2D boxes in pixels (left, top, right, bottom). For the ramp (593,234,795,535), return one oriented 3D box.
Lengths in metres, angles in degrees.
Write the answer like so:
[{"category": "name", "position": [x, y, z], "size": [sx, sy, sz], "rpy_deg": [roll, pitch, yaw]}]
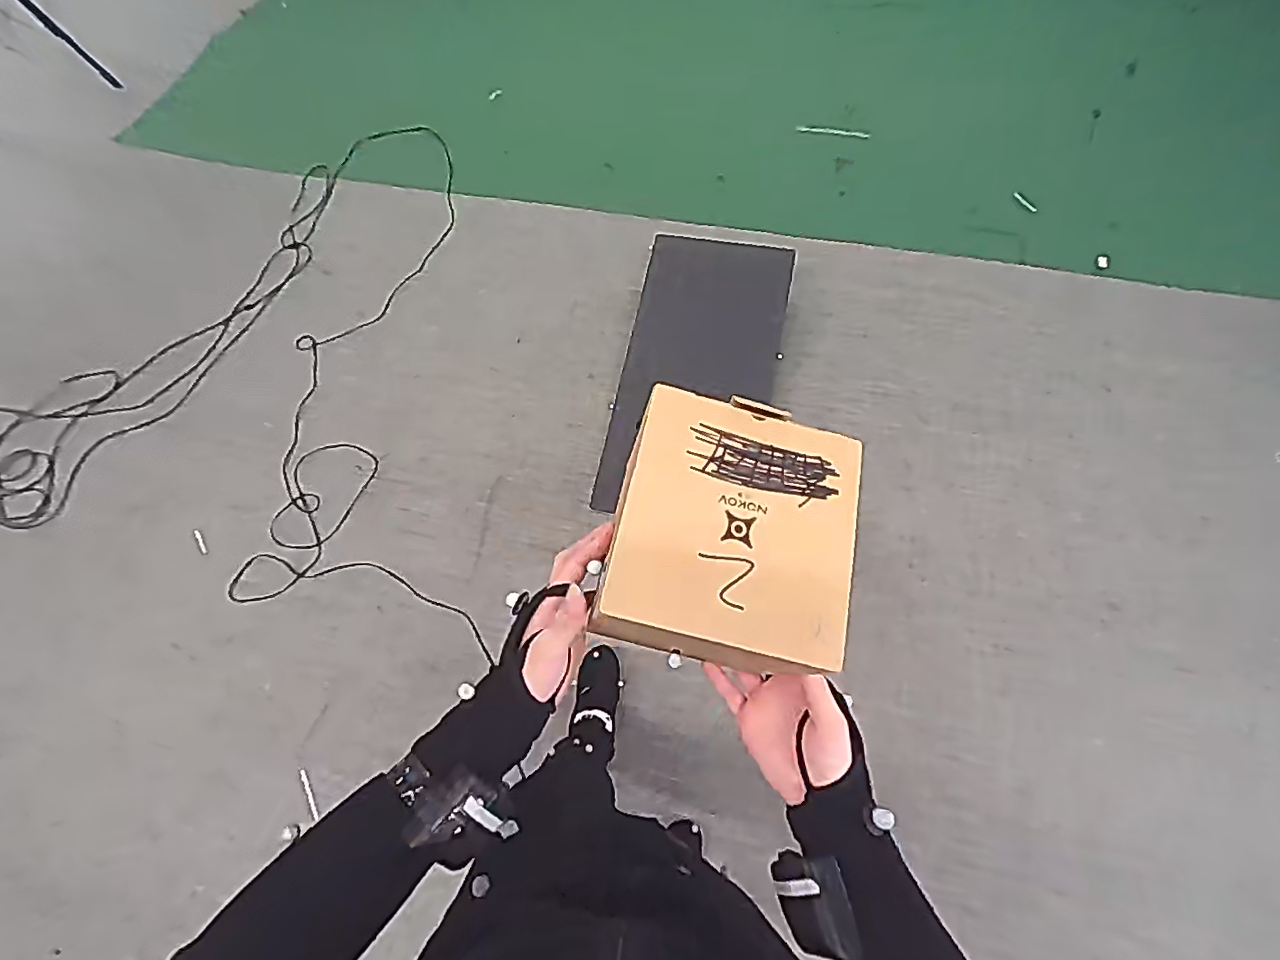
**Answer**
[{"category": "ramp", "position": [0.191, -0.347, 1.751], "size": [0.509, 0.206, 0.991], "rpy_deg": [9, 67, 7]}]
